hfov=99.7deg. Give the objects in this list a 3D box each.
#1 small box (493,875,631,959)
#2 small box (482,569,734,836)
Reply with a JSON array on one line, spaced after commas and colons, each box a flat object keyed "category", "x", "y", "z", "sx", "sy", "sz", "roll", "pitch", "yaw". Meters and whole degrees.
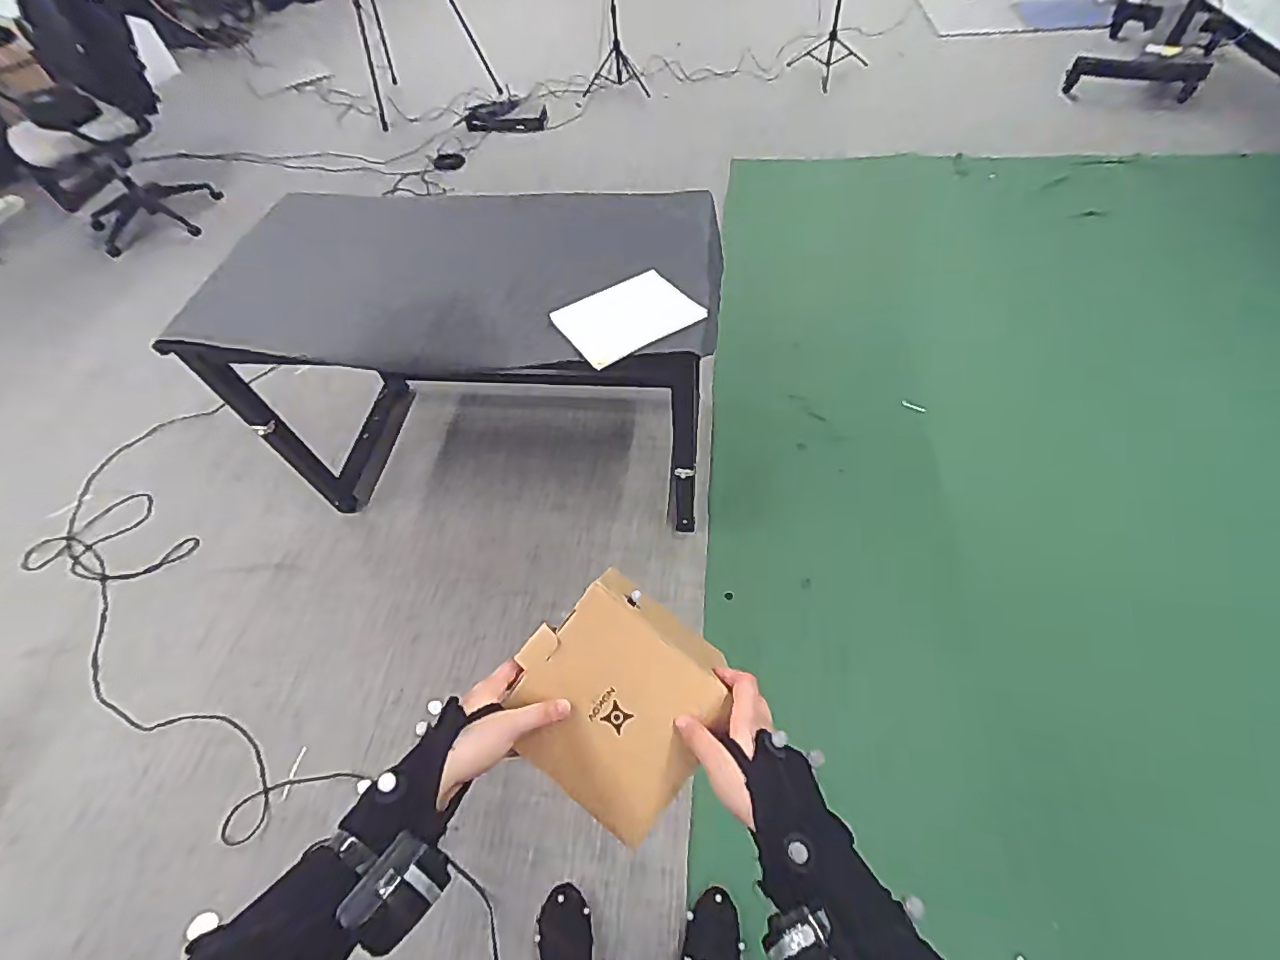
[{"category": "small box", "x": -0.142, "y": 0.909, "z": 1.041, "sx": 0.176, "sy": 0.168, "sz": 0.179, "roll": 49, "pitch": 44, "yaw": 1}, {"category": "small box", "x": -0.024, "y": 0.209, "z": 0.570, "sx": 0.179, "sy": 0.176, "sz": 0.168, "roll": 37, "pitch": 89, "yaw": 6}]
